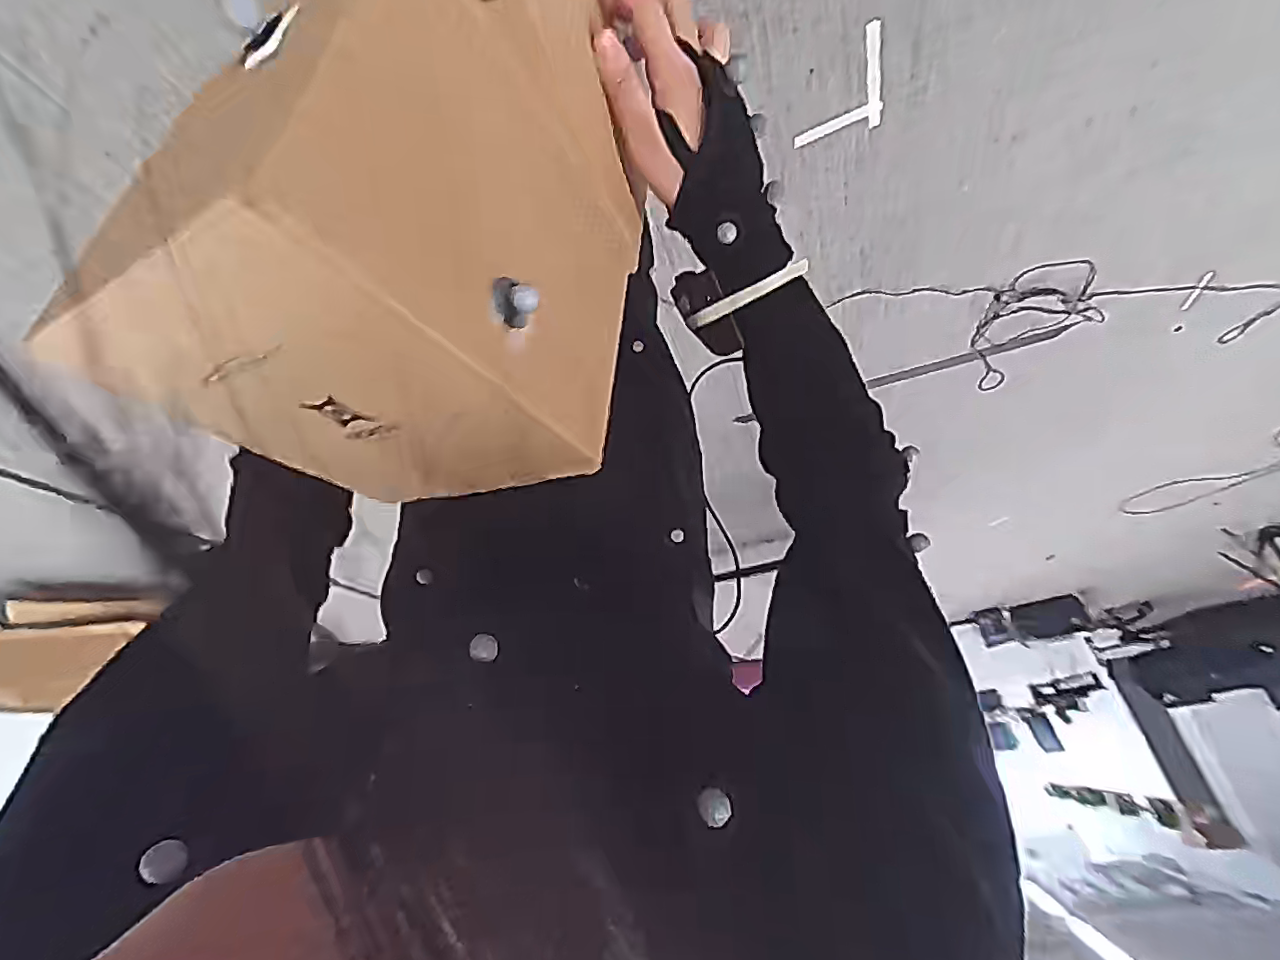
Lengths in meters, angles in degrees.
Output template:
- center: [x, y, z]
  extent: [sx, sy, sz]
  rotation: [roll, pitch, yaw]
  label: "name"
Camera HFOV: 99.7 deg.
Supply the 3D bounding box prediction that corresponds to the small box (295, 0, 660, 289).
- center: [-0.095, -0.238, 0.355]
  extent: [0.179, 0.176, 0.168]
  rotation: [-2, 155, 18]
  label: "small box"
